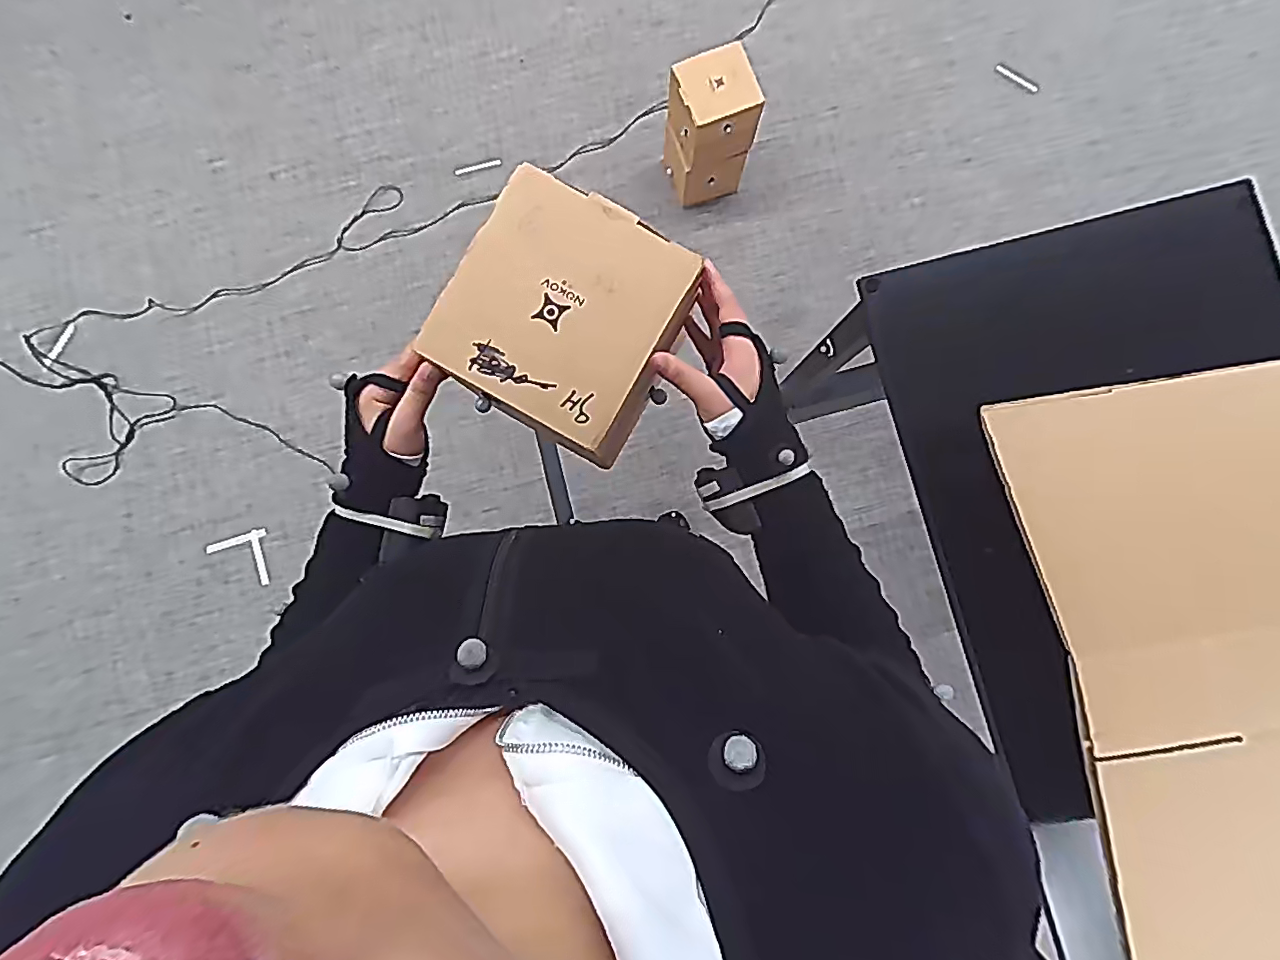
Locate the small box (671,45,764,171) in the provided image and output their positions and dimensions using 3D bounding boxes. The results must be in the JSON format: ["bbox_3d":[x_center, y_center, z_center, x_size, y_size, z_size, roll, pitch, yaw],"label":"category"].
[{"bbox_3d":[0.184,-0.913,1.345,0.179,0.176,0.168,-21,86,-3],"label":"small box"}]

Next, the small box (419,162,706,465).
[{"bbox_3d":[-0.059,-0.132,0.496,0.168,0.176,0.179,29,86,4],"label":"small box"}]

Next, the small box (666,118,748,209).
[{"bbox_3d":[0.180,-0.896,1.506,0.179,0.176,0.168,-18,85,0],"label":"small box"}]
